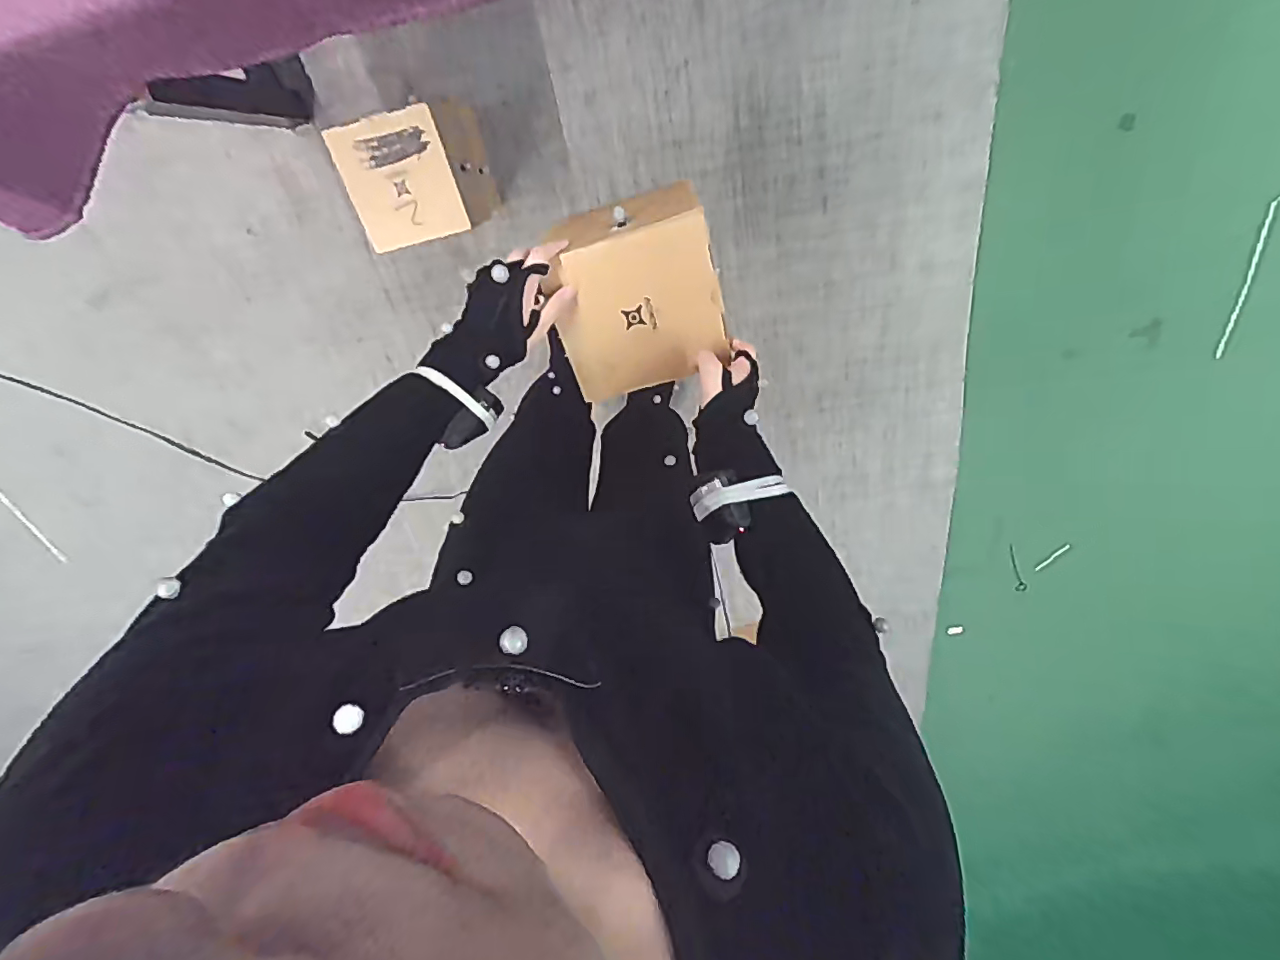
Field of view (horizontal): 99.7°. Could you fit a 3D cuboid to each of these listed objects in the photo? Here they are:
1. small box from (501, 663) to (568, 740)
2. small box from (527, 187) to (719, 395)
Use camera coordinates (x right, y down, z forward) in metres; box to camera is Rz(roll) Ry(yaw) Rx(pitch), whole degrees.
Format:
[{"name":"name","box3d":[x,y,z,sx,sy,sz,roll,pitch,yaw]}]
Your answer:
[{"name":"small box","box3d":[-0.347,0.745,1.830,0.179,0.176,0.168,-13,120,6]},{"name":"small box","box3d":[-0.013,-0.227,0.641,0.179,0.176,0.168,-13,127,8]}]
